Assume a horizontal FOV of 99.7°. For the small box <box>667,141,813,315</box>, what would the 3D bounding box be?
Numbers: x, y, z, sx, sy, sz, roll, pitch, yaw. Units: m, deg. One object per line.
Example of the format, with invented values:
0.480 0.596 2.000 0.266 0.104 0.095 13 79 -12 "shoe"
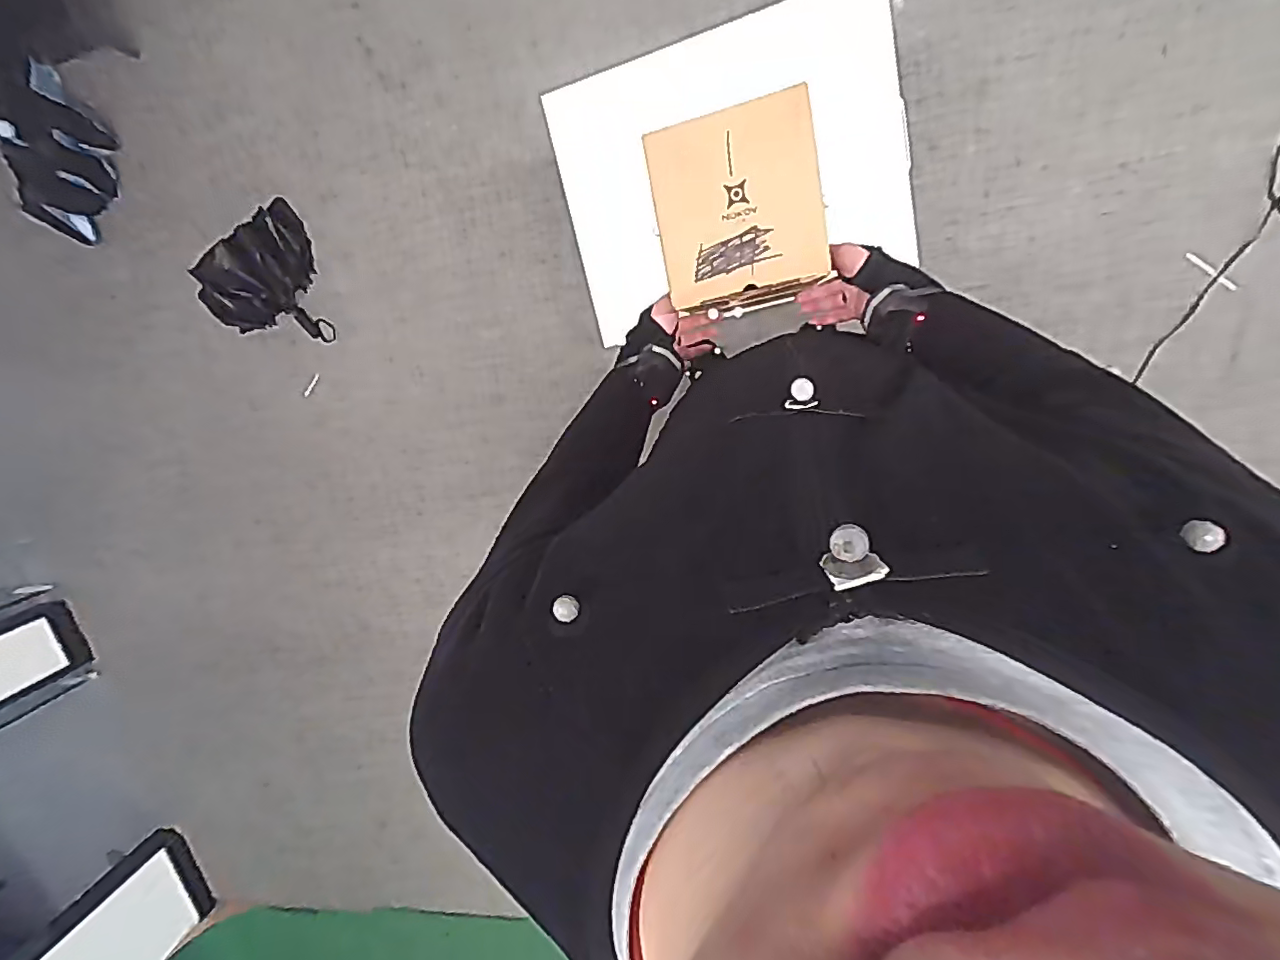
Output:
0.143 -0.343 0.774 0.168 0.176 0.179 -10 103 15 "small box"
